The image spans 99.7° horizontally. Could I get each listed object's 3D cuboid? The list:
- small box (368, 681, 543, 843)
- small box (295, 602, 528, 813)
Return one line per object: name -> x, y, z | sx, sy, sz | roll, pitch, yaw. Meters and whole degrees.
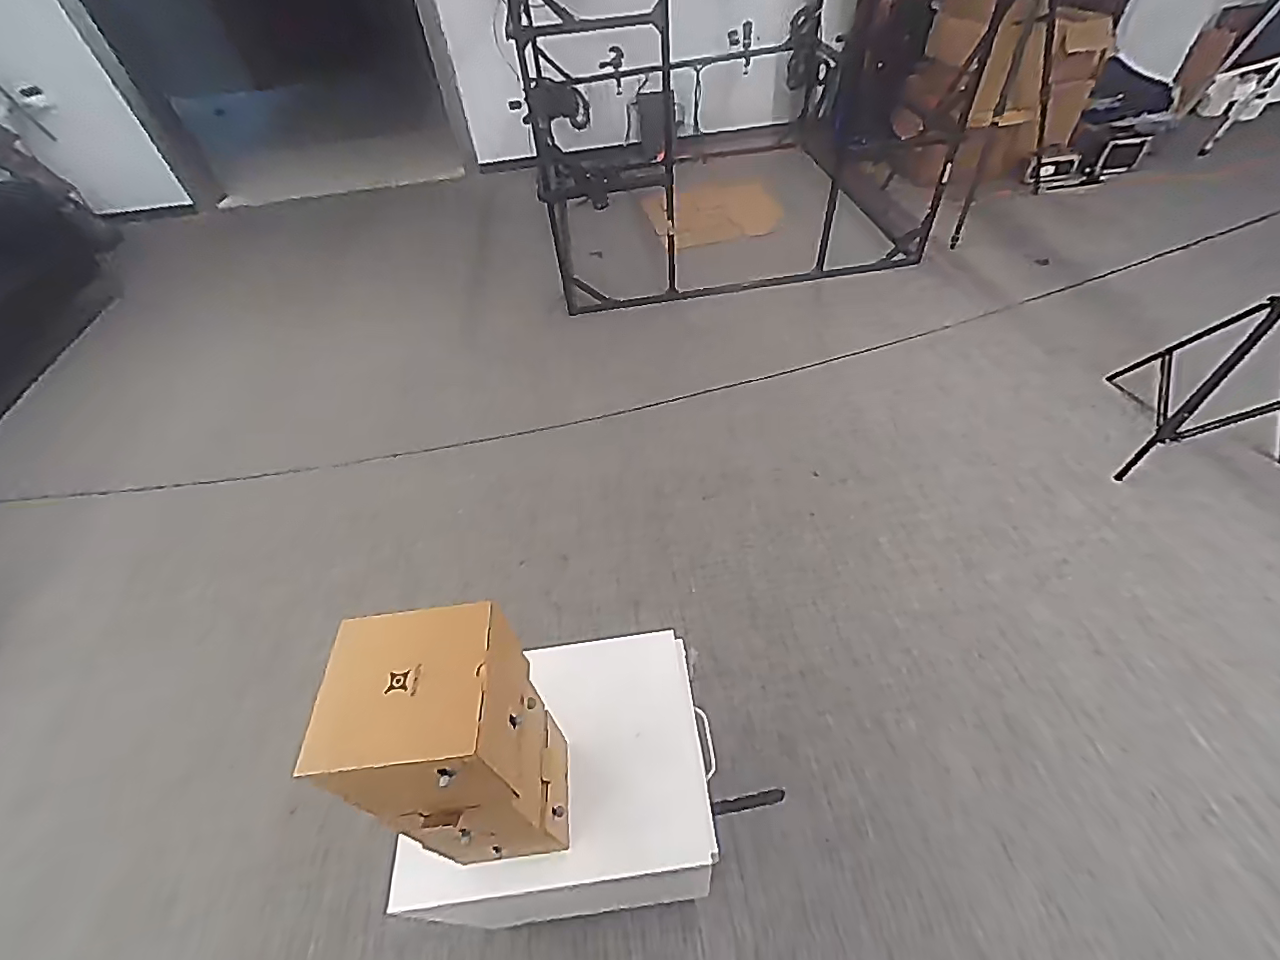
small box -> -0.233, 0.371, 0.737 | 0.168, 0.176, 0.179 | -6, 47, 1
small box -> -0.237, 0.262, 0.615 | 0.179, 0.176, 0.168 | -6, 47, -1
